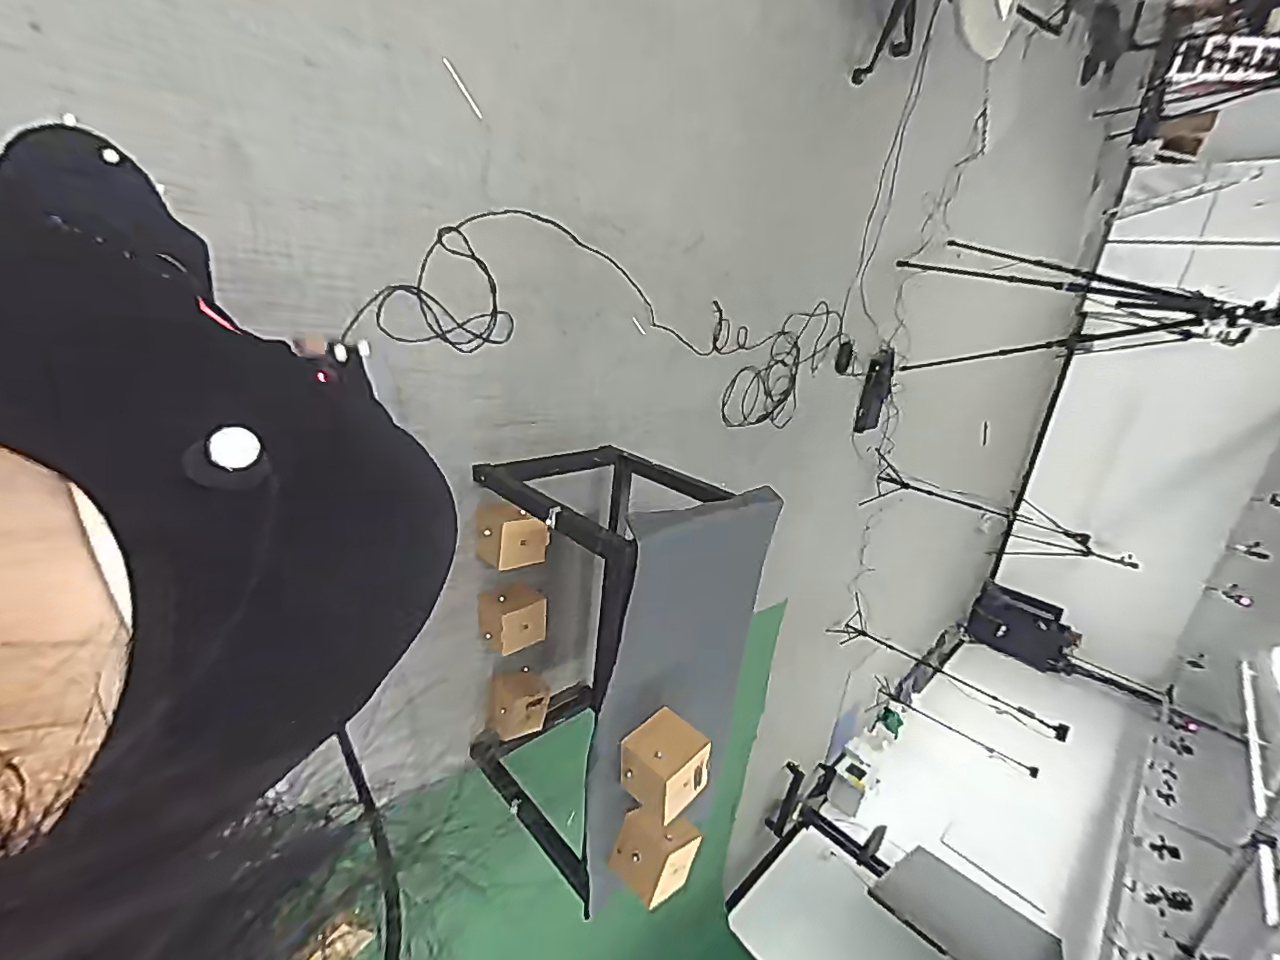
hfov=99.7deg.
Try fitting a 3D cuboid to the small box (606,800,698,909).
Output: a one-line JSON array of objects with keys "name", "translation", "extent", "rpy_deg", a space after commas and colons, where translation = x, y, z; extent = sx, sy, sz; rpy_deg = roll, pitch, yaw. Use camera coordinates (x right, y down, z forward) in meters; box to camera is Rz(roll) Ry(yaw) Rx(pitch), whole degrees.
[{"name": "small box", "translation": [0.032, 1.069, 1.562], "extent": [0.179, 0.176, 0.168], "rpy_deg": [17, 94, -51]}]

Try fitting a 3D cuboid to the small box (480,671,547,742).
[{"name": "small box", "translation": [-0.479, 0.839, 2.033], "extent": [0.168, 0.176, 0.179], "rpy_deg": [6, 104, -47]}]

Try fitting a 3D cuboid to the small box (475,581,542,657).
[{"name": "small box", "translation": [-0.463, 0.479, 1.889], "extent": [0.179, 0.176, 0.168], "rpy_deg": [-15, 118, -43]}]

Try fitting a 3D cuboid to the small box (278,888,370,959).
[{"name": "small box", "translation": [-1.020, 1.468, 1.746], "extent": [0.168, 0.176, 0.179], "rpy_deg": [-43, 135, -25]}]

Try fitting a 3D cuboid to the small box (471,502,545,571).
[{"name": "small box", "translation": [-0.440, 0.180, 1.783], "extent": [0.179, 0.176, 0.168], "rpy_deg": [-7, 112, -45]}]
